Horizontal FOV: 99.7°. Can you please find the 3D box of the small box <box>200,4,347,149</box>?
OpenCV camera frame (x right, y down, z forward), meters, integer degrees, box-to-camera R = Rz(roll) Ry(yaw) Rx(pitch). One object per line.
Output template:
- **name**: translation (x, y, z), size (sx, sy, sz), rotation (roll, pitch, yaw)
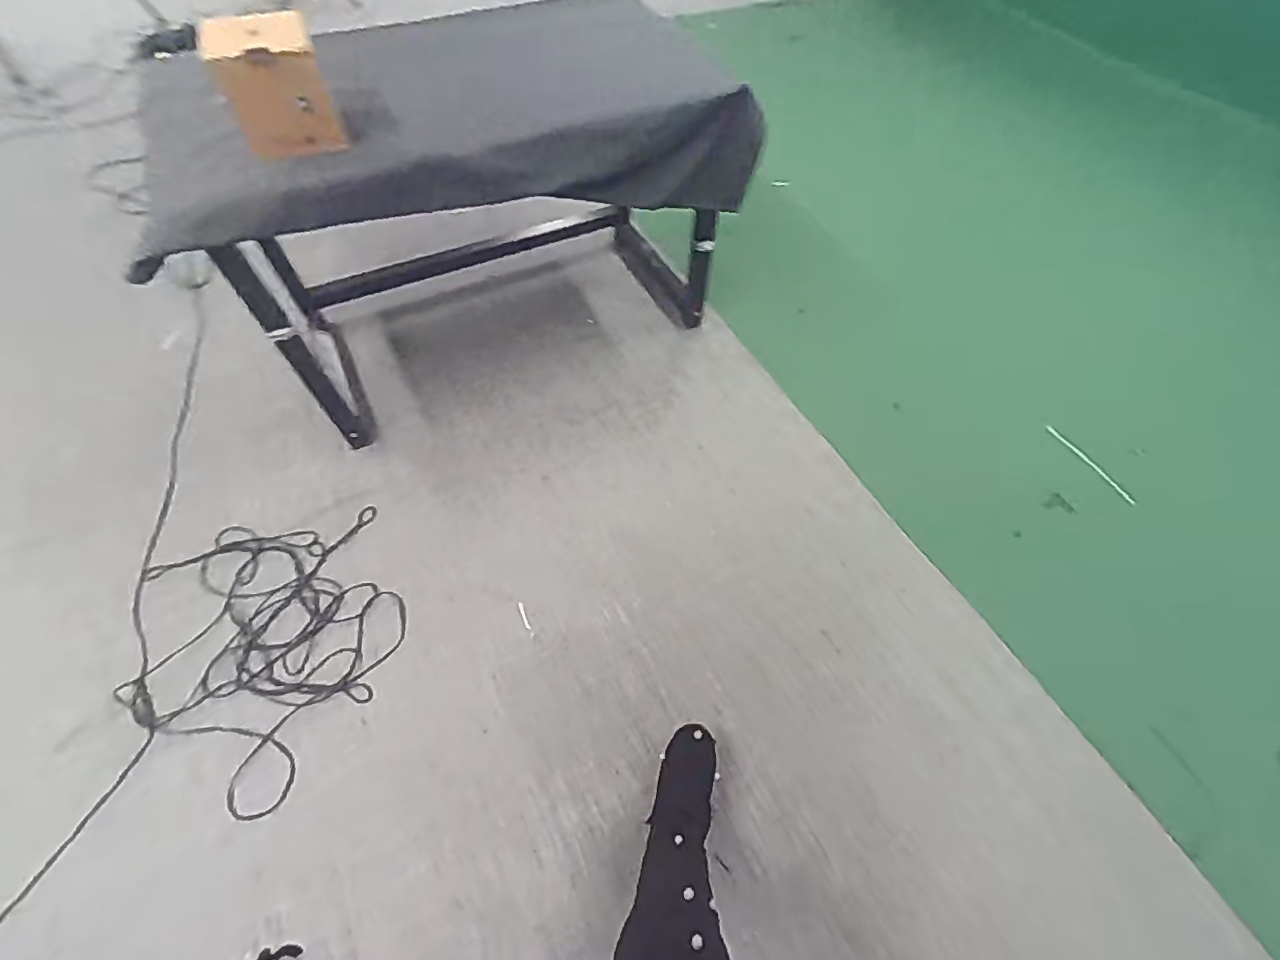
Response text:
- **small box**: translation (-0.661, -0.728, 0.988), size (0.168, 0.176, 0.179), rotation (-20, 59, -16)
